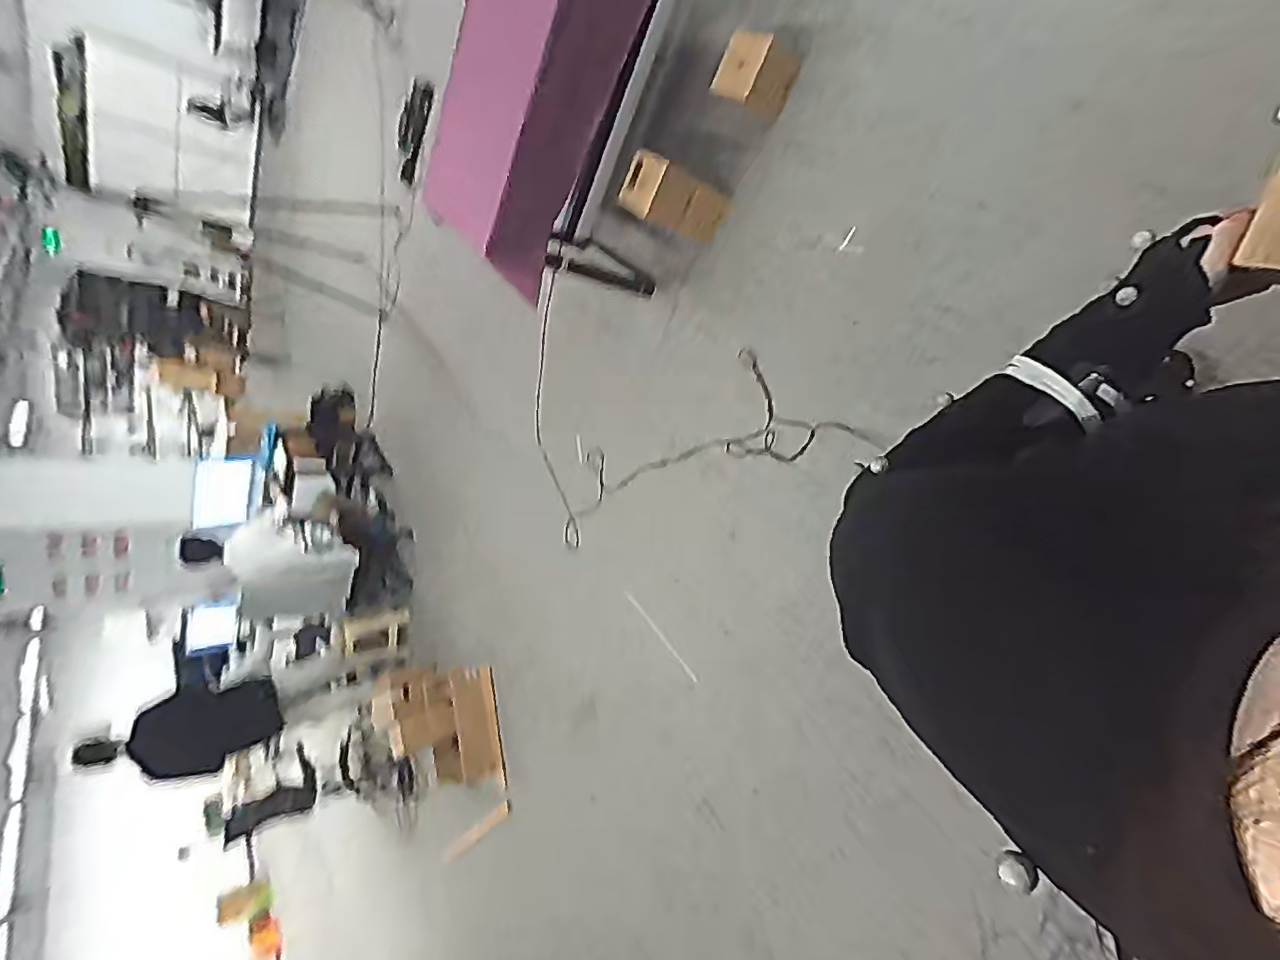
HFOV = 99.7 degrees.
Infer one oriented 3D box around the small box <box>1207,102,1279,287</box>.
[{"bbox_3d":[0.529,-0.221,0.363,0.168,0.176,0.179,26,121,37],"label":"small box"}]
